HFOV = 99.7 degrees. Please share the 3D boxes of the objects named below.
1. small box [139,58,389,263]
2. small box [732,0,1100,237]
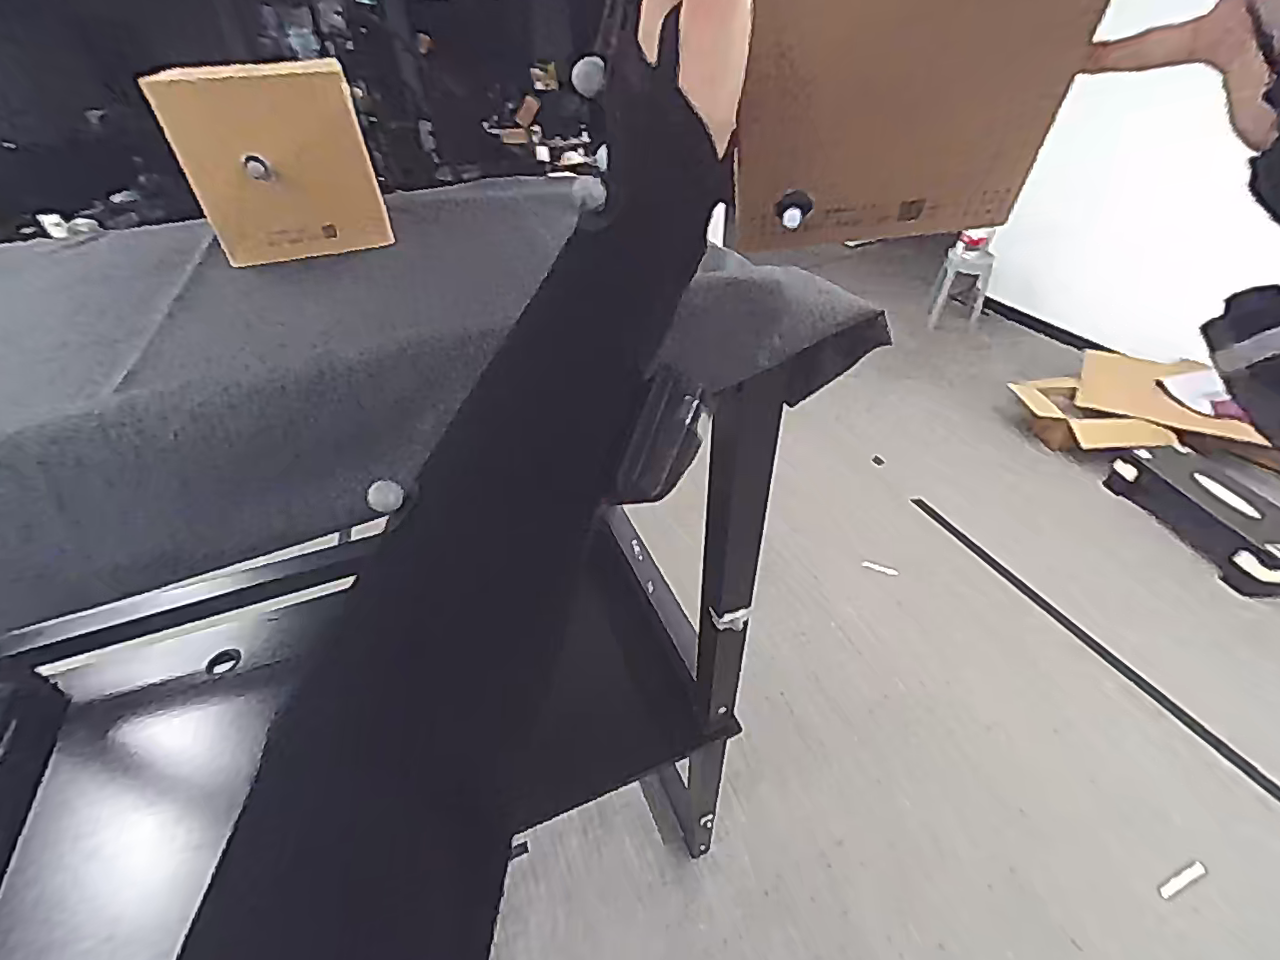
[{"bbox_3d":[-0.396,-0.356,0.606,0.168,0.176,0.179,-17,43,-17],"label":"small box"},{"bbox_3d":[0.140,-0.265,0.316,0.168,0.176,0.179,-1,62,11],"label":"small box"}]
